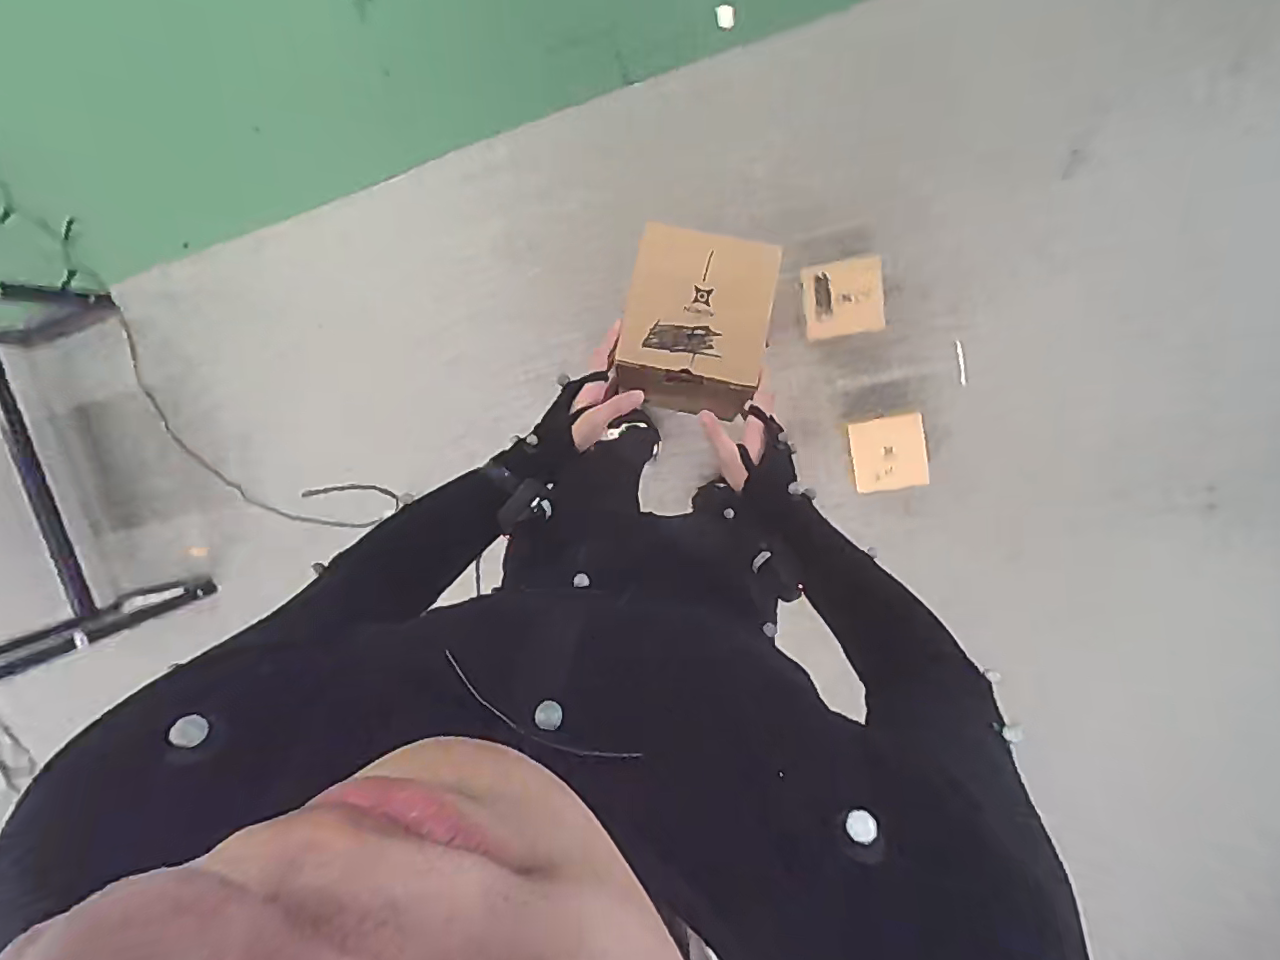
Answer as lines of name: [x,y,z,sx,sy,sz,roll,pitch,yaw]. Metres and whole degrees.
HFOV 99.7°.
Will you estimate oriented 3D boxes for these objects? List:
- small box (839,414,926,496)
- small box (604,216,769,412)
small box: [0.608,-0.070,1.372,0.168,0.176,0.179,-9,99,16]
small box: [0.056,-0.199,0.696,0.168,0.176,0.179,11,82,2]
